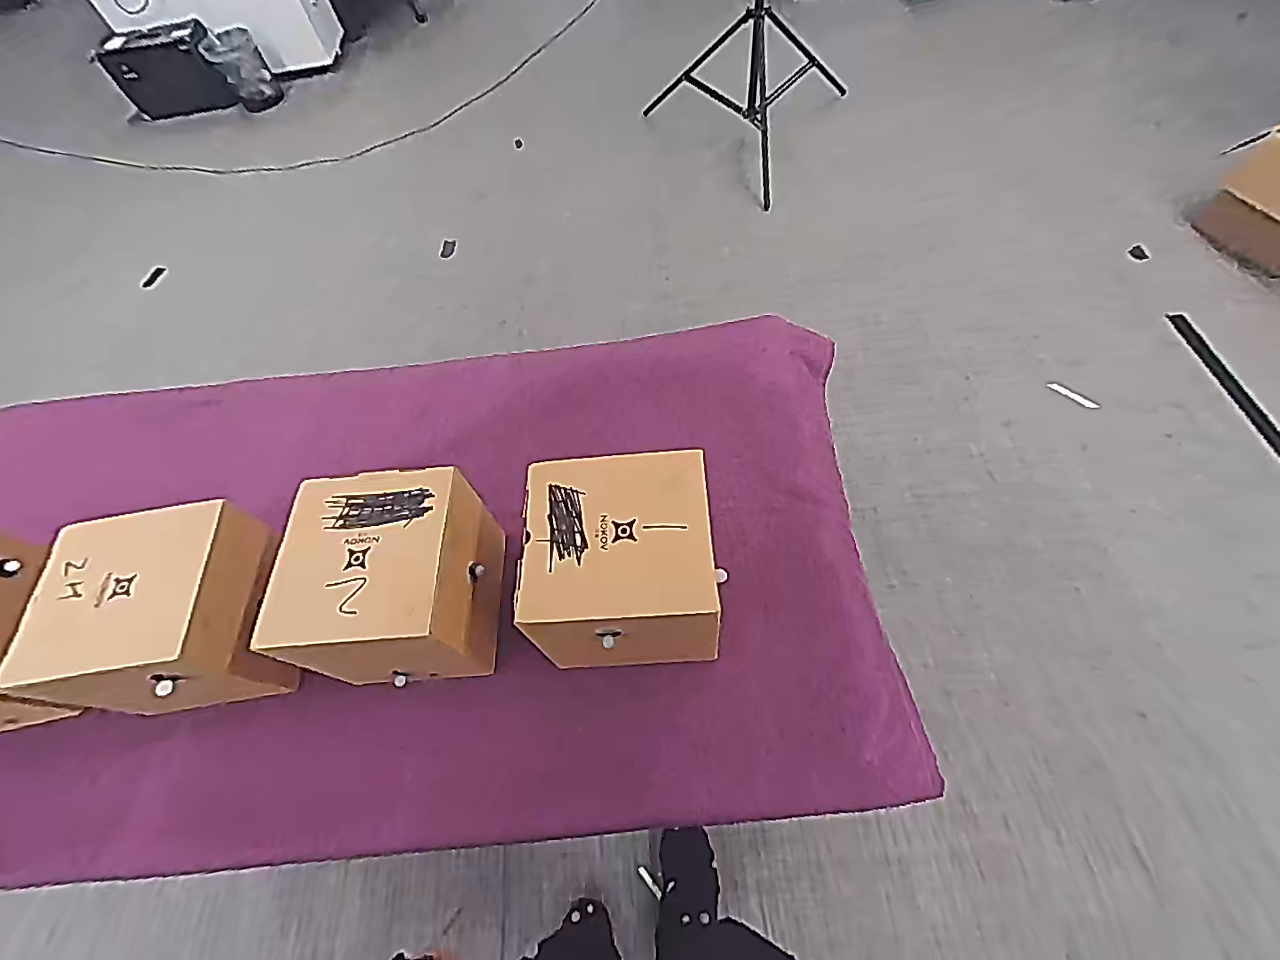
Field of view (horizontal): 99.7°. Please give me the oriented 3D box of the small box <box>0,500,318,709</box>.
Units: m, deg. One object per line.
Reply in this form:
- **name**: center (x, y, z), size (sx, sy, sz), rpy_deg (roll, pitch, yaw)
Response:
- **small box**: center (-0.491, 0.142, 0.591), size (0.179, 0.176, 0.168), rpy_deg (-10, 59, 1)

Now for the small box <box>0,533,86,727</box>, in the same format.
- **small box**: center (-0.745, 0.177, 0.604), size (0.168, 0.176, 0.179), rpy_deg (-13, 59, -1)

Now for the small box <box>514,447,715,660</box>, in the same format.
- **small box**: center (-0.015, 0.085, 0.564), size (0.179, 0.176, 0.168), rpy_deg (-4, 59, 4)
